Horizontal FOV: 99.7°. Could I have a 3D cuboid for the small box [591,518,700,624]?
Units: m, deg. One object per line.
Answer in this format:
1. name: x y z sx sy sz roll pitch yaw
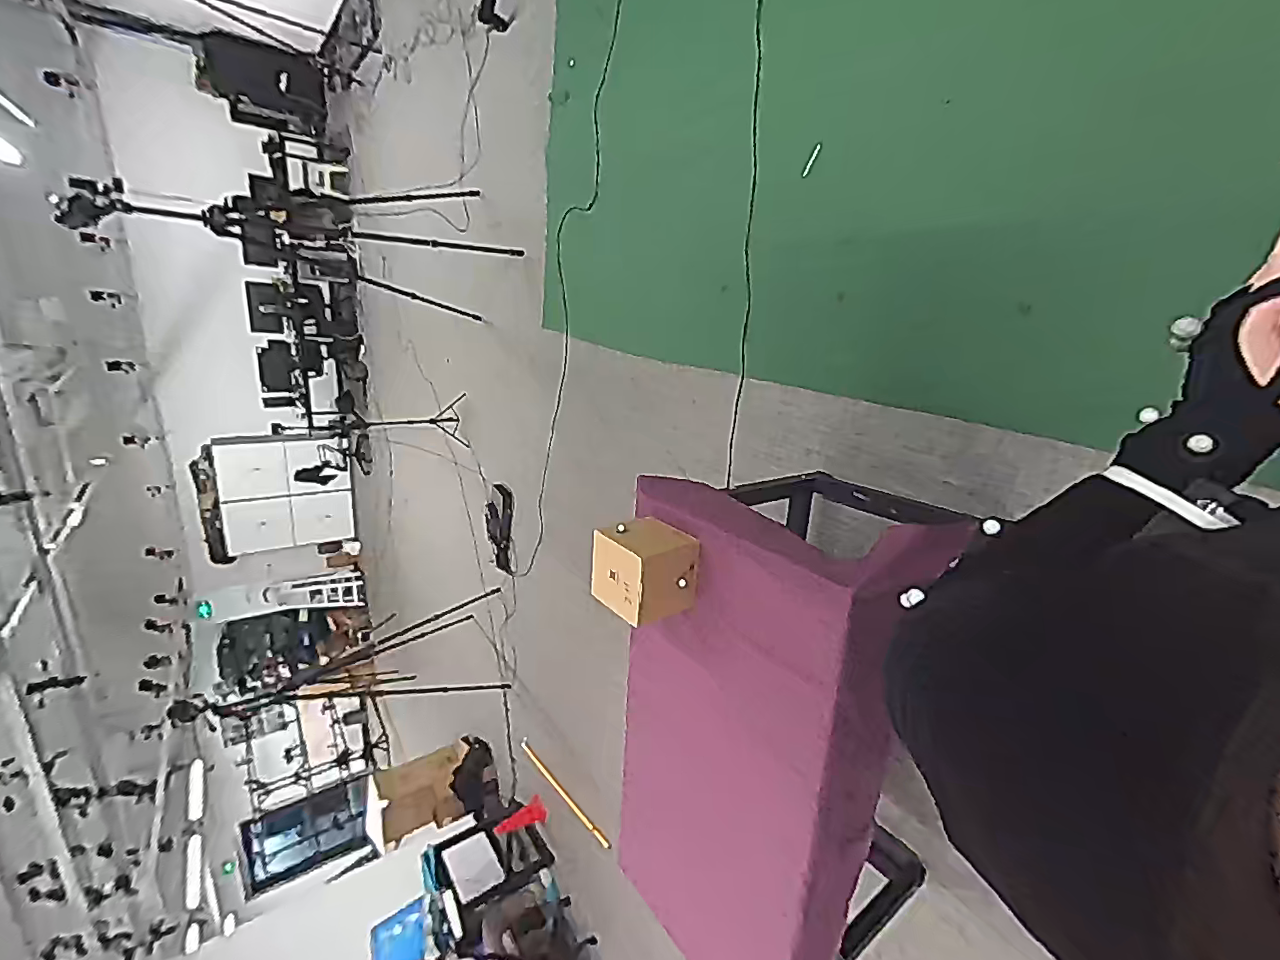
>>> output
1. small box: 0.010 0.193 1.222 0.179 0.176 0.168 24 116 46
